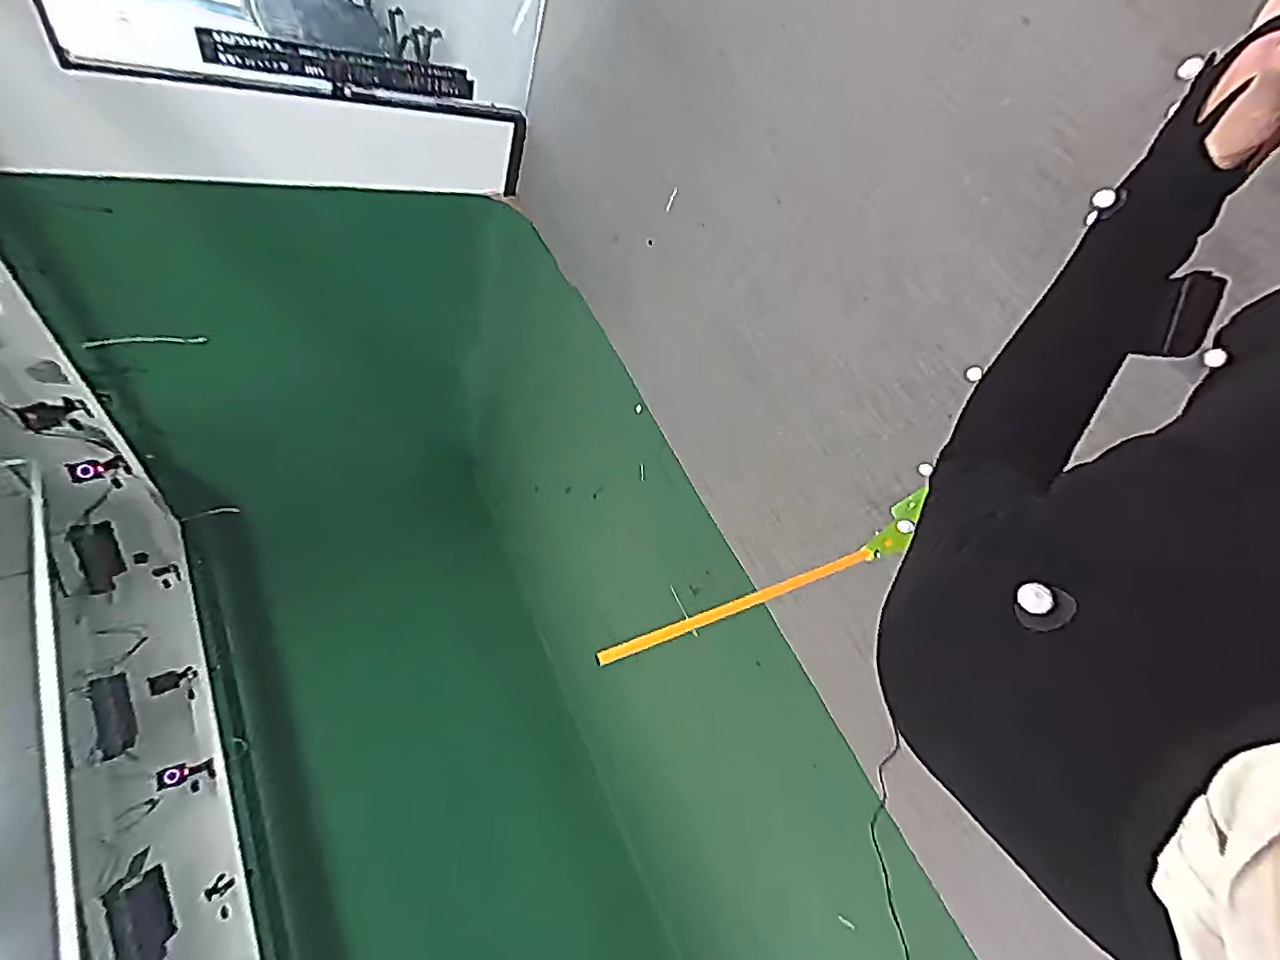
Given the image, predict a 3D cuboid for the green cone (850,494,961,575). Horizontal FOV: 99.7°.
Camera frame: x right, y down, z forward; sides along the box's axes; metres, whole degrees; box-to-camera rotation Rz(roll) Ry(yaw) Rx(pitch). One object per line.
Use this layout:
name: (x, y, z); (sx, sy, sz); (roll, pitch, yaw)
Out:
green cone: (0.754, 0.205, 1.637); (0.202, 0.368, 0.200); (61, 145, 19)
